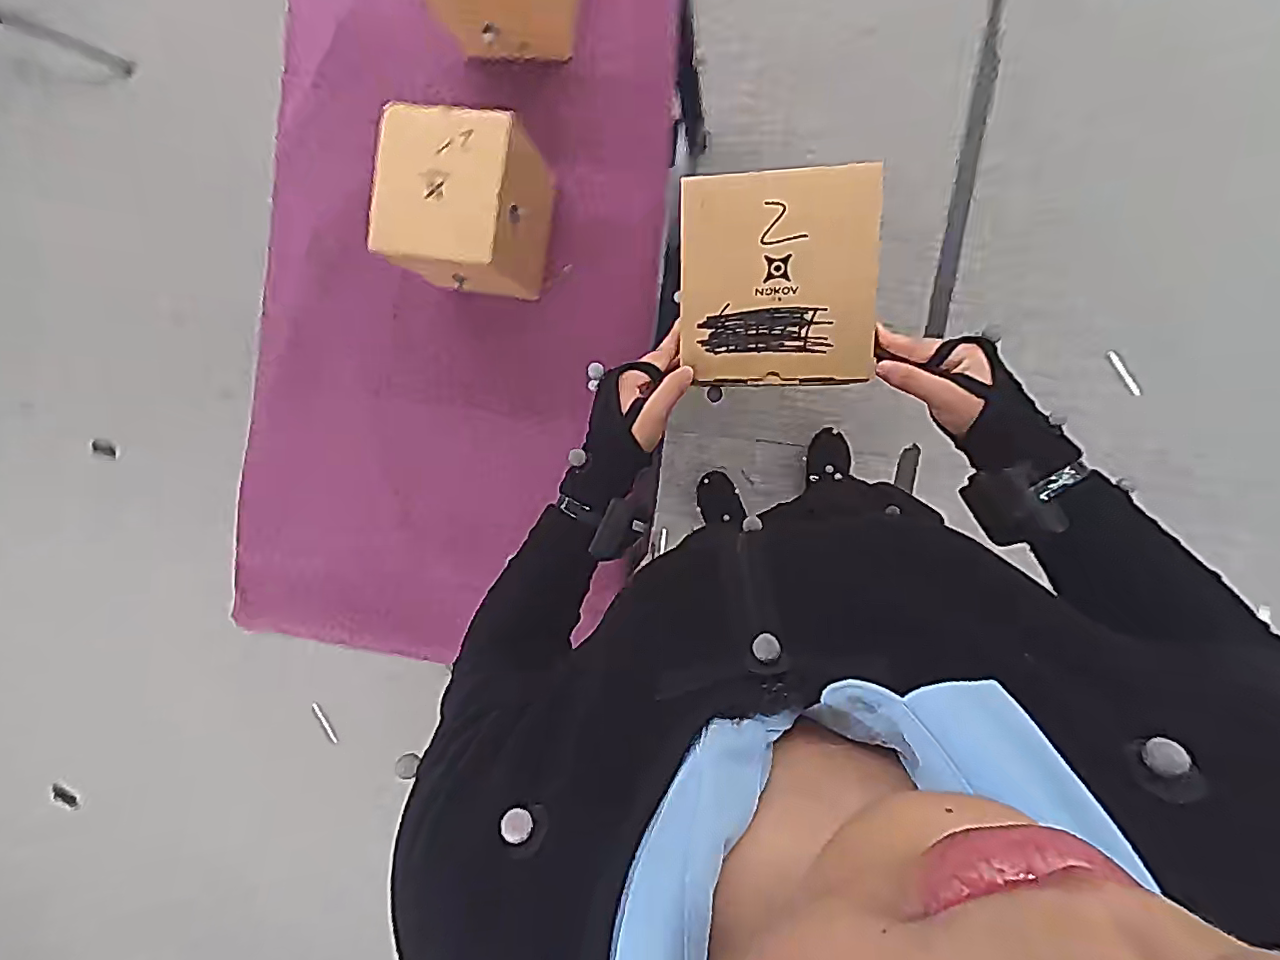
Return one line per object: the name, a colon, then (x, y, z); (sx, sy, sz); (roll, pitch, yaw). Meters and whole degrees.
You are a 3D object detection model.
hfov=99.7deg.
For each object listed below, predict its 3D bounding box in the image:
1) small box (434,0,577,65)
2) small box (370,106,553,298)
small box: (-0.180, -0.688, 0.696); (0.168, 0.176, 0.179); (11, 96, 10)
small box: (-0.227, -0.357, 0.725); (0.168, 0.176, 0.179); (10, 95, 9)
